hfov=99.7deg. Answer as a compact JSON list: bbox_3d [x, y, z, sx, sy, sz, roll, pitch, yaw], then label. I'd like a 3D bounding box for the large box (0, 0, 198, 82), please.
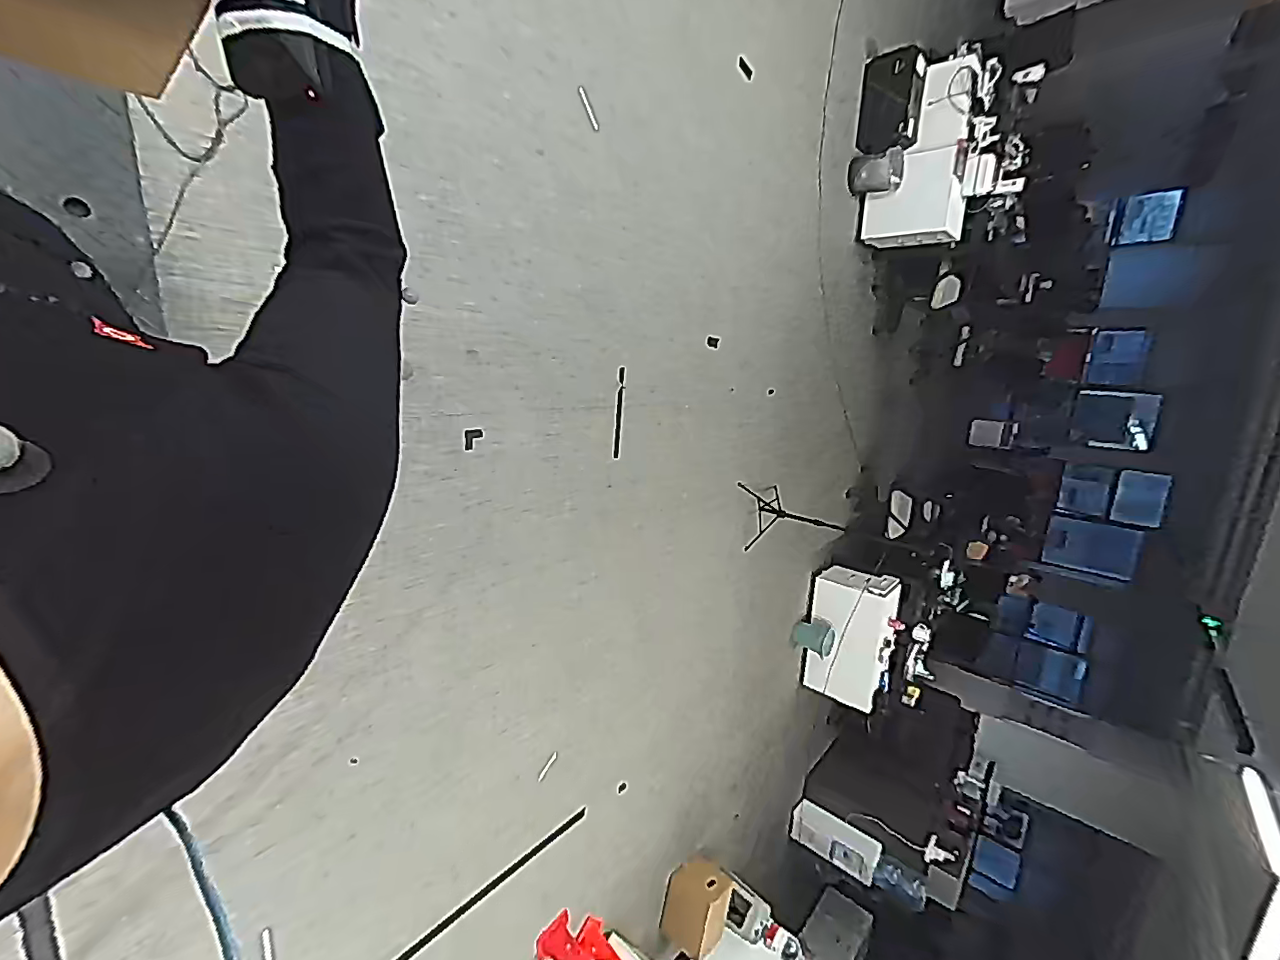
[{"bbox_3d":[-0.479,-0.471,0.243,0.408,0.320,0.320,-13,108,-48],"label":"large box"}]
